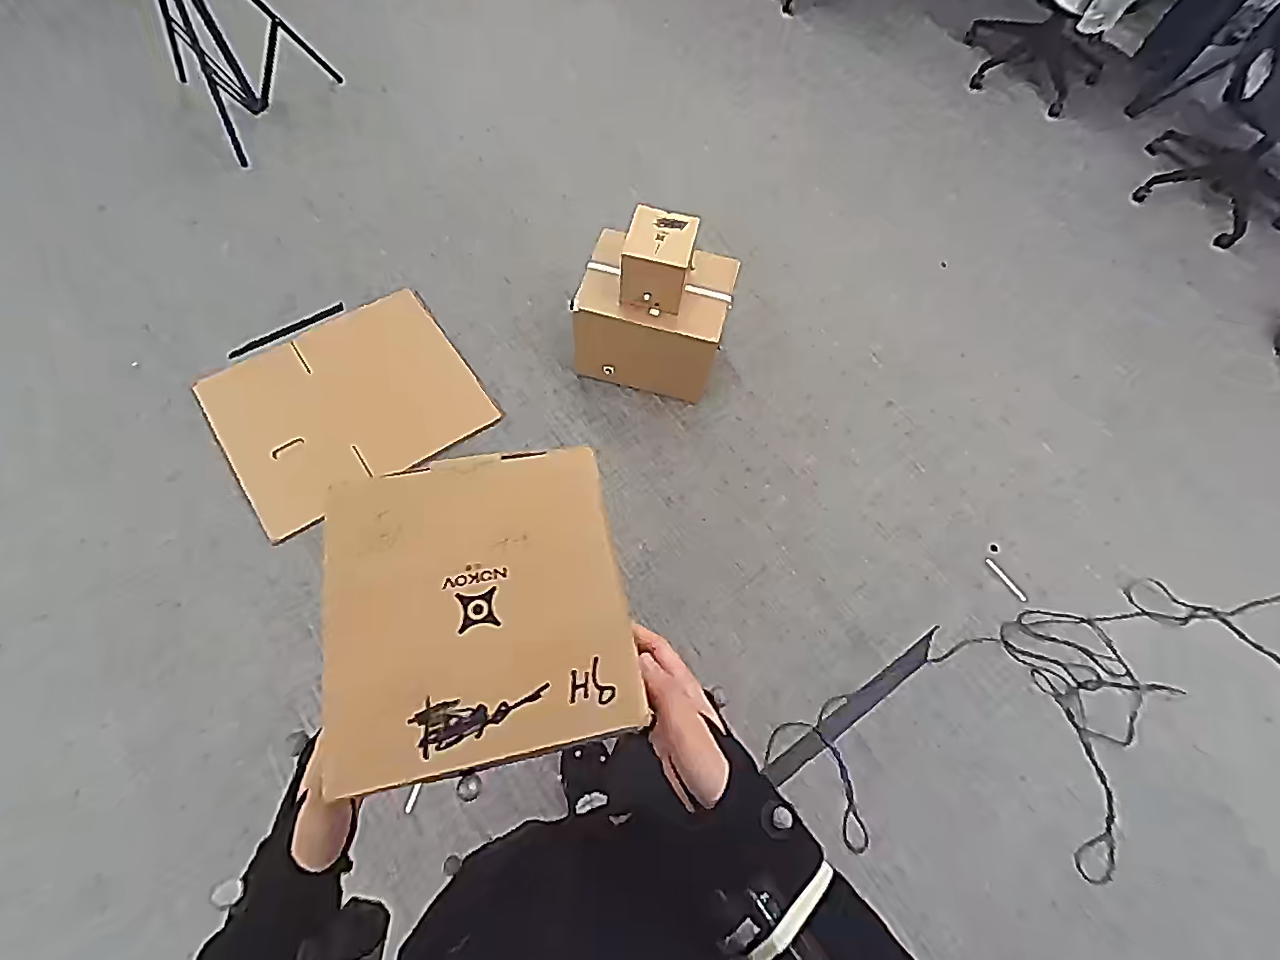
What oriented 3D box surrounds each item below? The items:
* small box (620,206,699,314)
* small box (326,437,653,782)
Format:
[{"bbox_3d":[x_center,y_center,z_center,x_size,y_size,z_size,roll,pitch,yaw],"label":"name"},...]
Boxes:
[{"bbox_3d":[0.046,-0.566,1.404,0.168,0.176,0.179,13,66,2],"label":"small box"},{"bbox_3d":[-0.095,0.095,0.380,0.168,0.176,0.179,-10,65,-9],"label":"small box"}]
